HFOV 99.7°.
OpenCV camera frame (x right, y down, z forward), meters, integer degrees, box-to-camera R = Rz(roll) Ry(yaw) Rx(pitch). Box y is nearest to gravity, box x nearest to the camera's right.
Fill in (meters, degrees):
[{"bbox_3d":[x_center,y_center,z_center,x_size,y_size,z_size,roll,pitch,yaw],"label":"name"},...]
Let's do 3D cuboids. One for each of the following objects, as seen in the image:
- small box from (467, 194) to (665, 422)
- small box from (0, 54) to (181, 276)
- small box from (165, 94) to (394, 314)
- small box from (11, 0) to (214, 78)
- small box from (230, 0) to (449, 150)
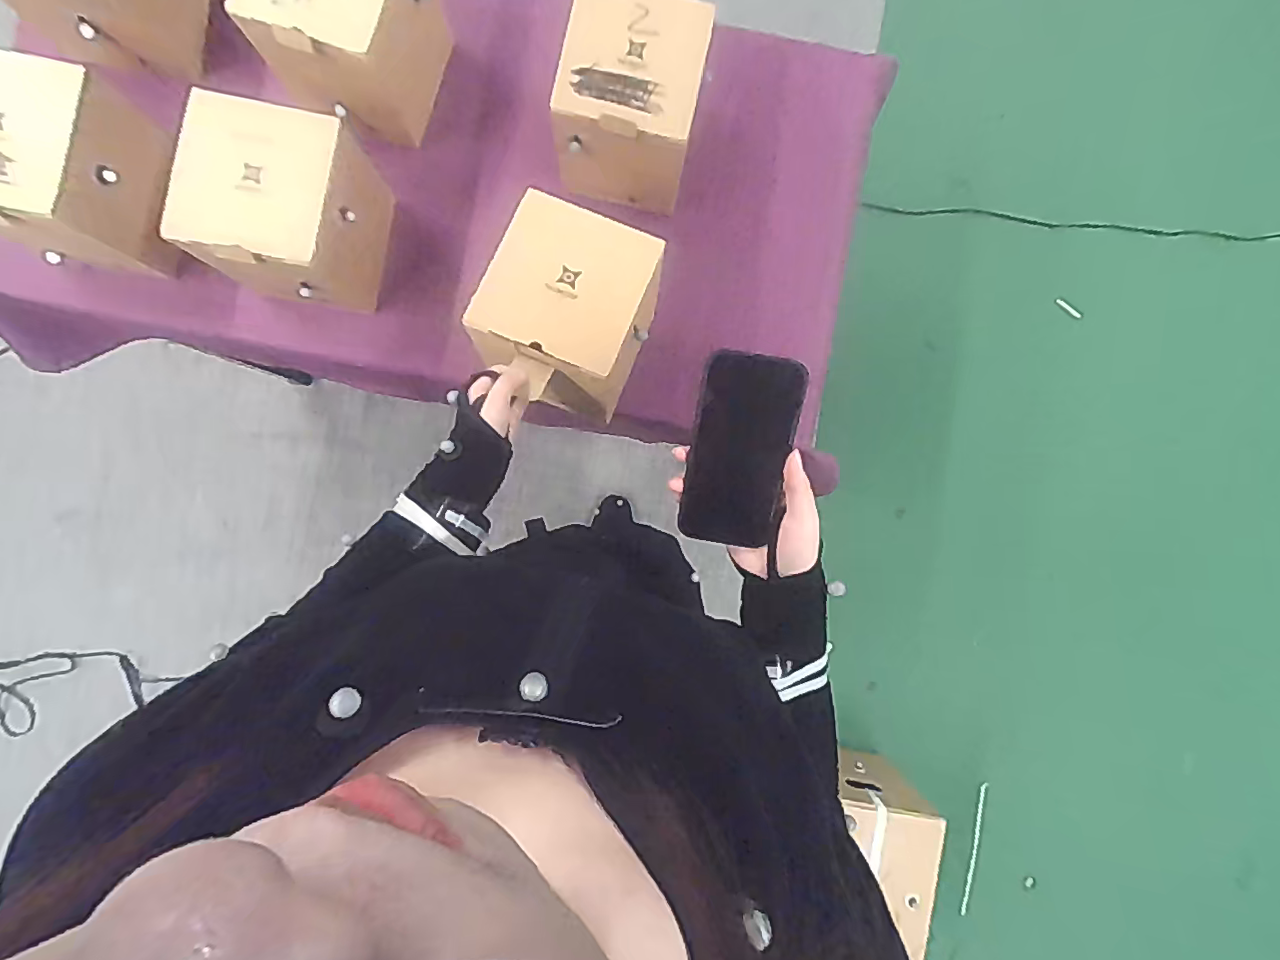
[{"bbox_3d":[-0.083,-0.196,0.661,0.168,0.176,0.179,22,79,1],"label":"small box"},{"bbox_3d":[-0.707,-0.379,0.672,0.168,0.176,0.179,10,87,-3],"label":"small box"},{"bbox_3d":[-0.437,-0.332,0.687,0.168,0.176,0.179,11,87,-3],"label":"small box"},{"bbox_3d":[-0.682,-0.657,0.681,0.168,0.176,0.179,7,89,-4],"label":"small box"},{"bbox_3d":[-0.365,-0.578,0.696,0.168,0.176,0.179,18,88,-2],"label":"small box"}]
